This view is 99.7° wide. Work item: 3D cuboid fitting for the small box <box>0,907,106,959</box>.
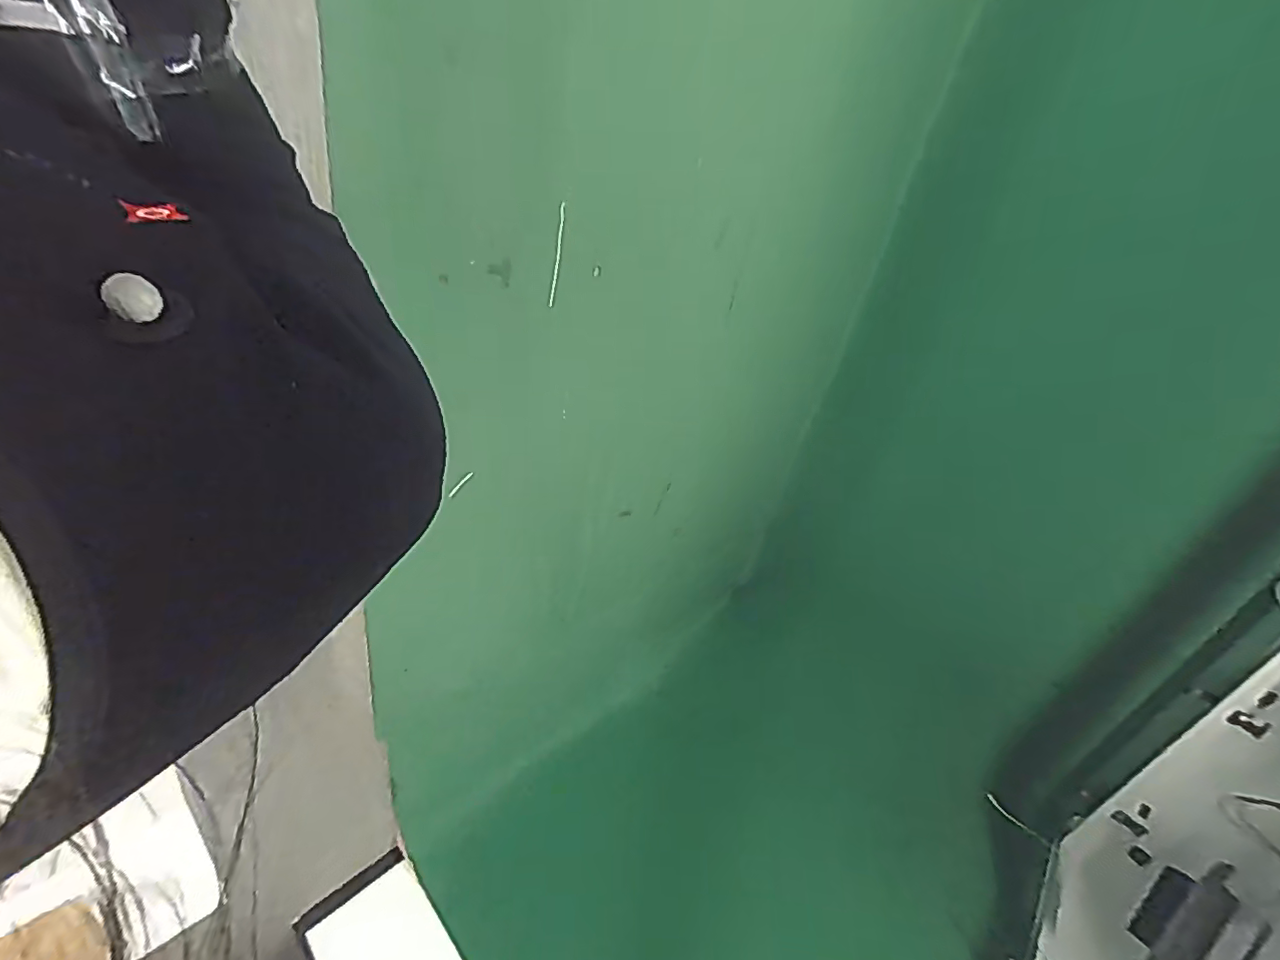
[{"bbox_3d":[-0.982,0.849,0.866,0.179,0.176,0.168,-18,132,-44],"label":"small box"}]
